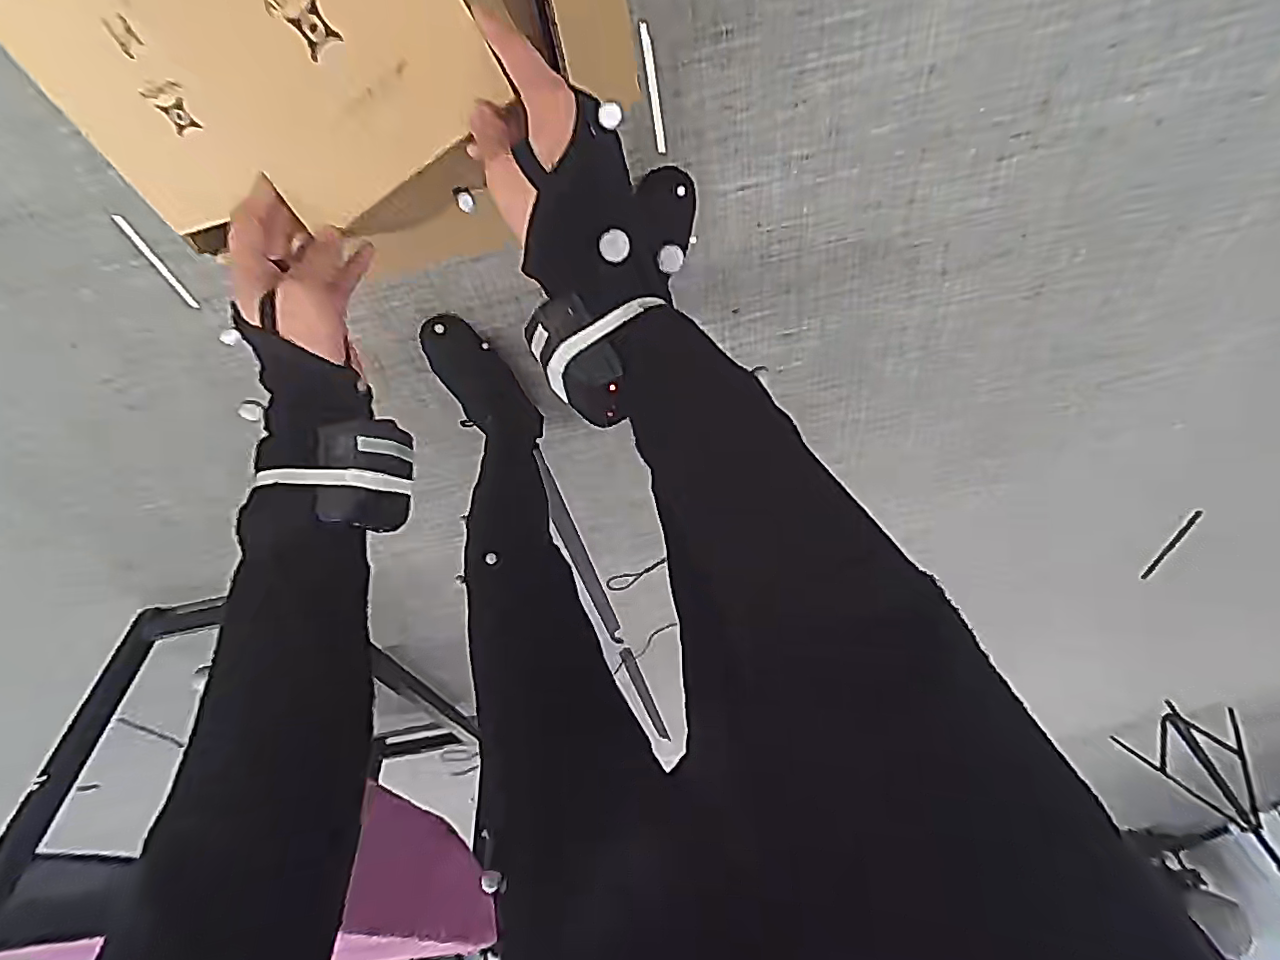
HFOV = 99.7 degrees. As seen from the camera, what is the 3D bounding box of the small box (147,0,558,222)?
[{"bbox_3d":[-0.178,-0.303,0.368,0.168,0.176,0.179,-24,116,16],"label":"small box"}]
